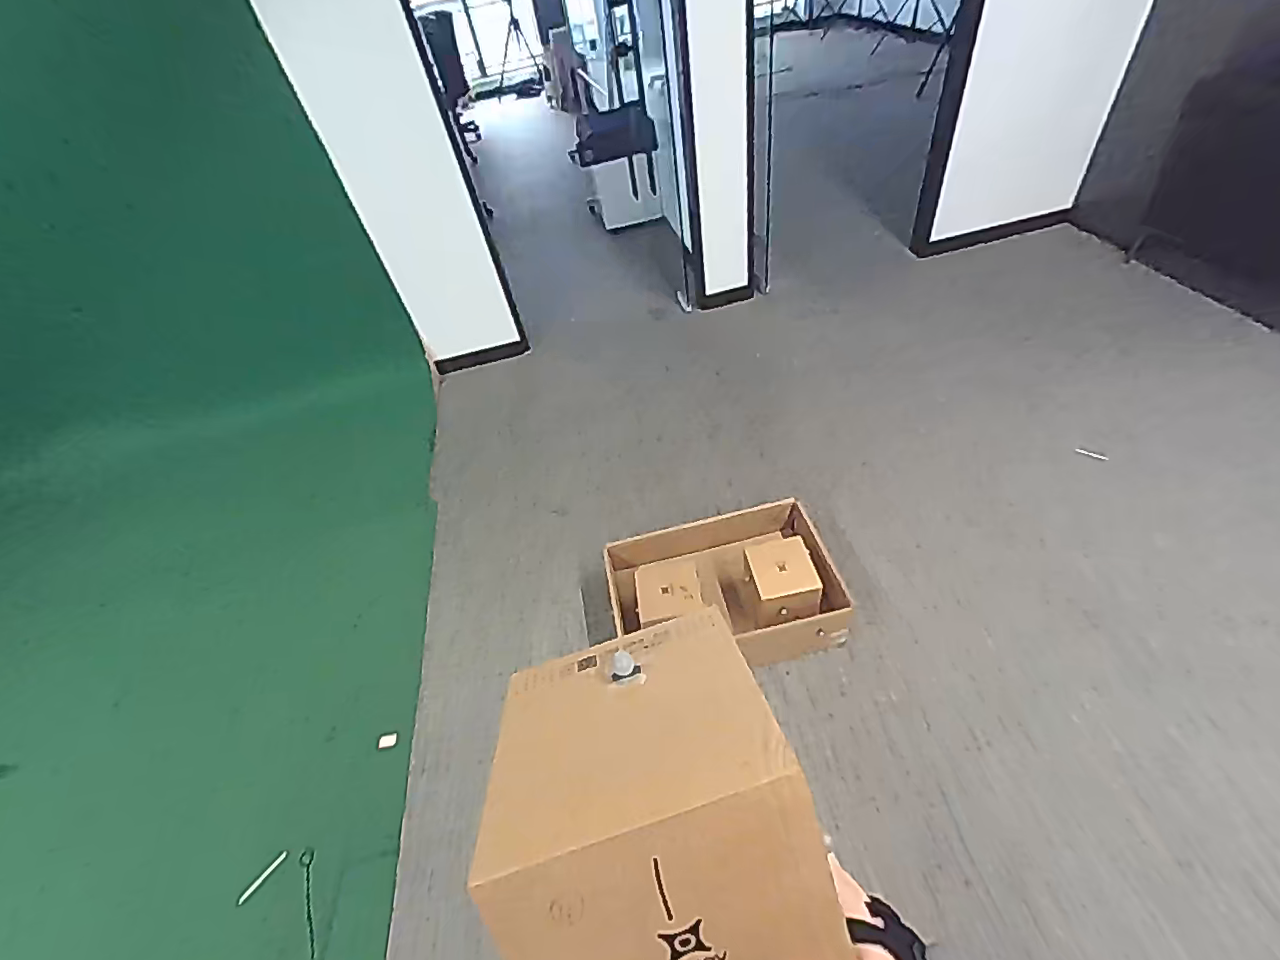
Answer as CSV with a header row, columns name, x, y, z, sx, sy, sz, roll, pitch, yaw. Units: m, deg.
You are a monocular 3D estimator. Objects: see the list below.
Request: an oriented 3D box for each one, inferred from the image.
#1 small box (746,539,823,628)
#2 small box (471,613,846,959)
name,x,y,z,sx,sy,sz,roll,pitch,yaw
small box,0.402,0.297,1.519,0.168,0.176,0.179,-12,45,0
small box,0.013,0.219,0.356,0.168,0.179,0.176,-18,14,-2
